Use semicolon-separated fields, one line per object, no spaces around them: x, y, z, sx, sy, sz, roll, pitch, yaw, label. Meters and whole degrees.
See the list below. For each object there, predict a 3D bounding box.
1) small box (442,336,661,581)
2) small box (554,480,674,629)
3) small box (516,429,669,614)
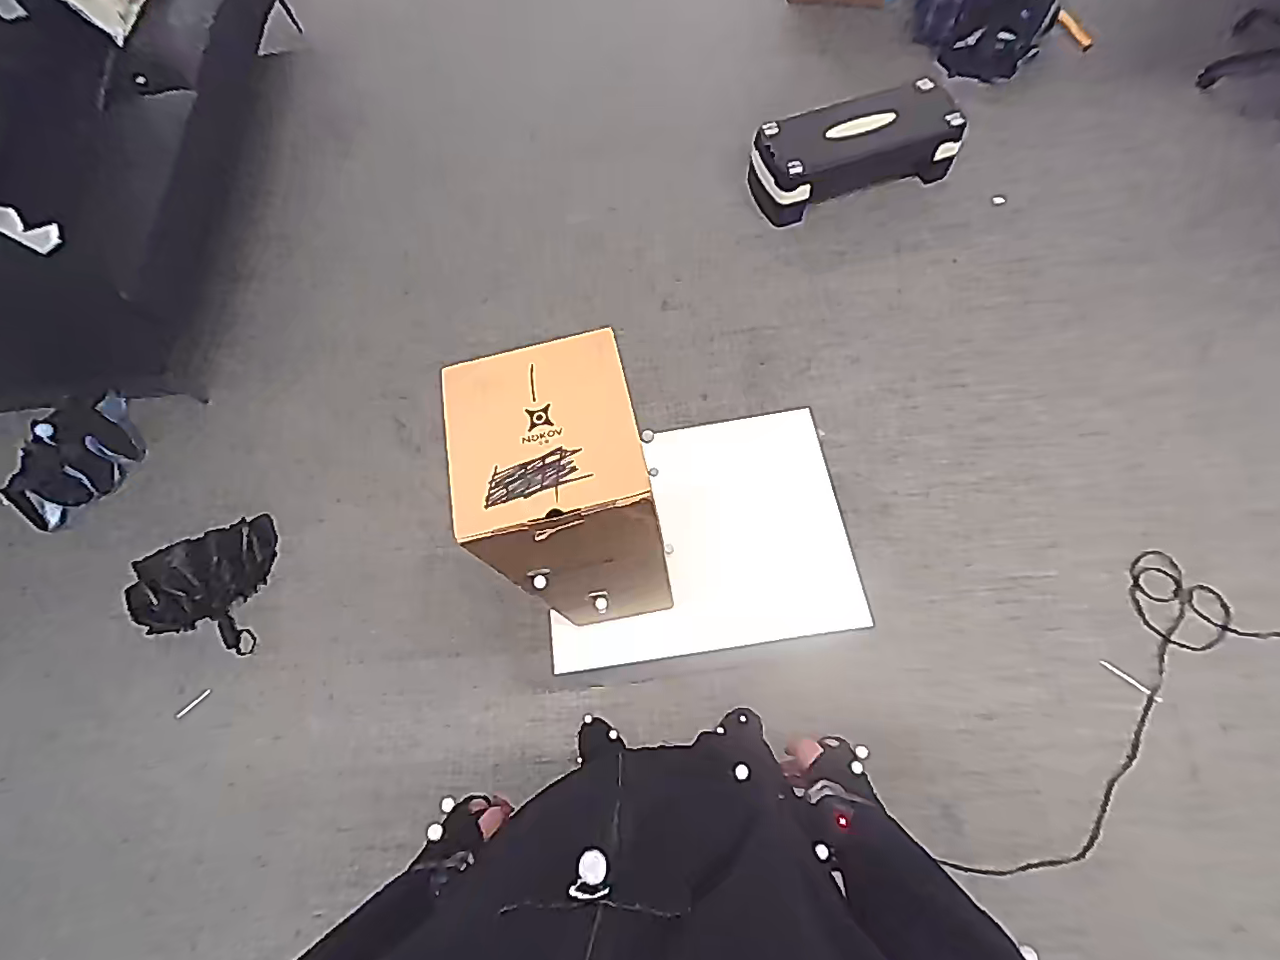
-0.079;-0.008;0.541;0.168;0.176;0.179;-14;64;1;small box
-0.043;0.121;0.842;0.168;0.176;0.179;-11;67;1;small box
-0.061;0.057;0.691;0.168;0.176;0.179;-13;67;1;small box
